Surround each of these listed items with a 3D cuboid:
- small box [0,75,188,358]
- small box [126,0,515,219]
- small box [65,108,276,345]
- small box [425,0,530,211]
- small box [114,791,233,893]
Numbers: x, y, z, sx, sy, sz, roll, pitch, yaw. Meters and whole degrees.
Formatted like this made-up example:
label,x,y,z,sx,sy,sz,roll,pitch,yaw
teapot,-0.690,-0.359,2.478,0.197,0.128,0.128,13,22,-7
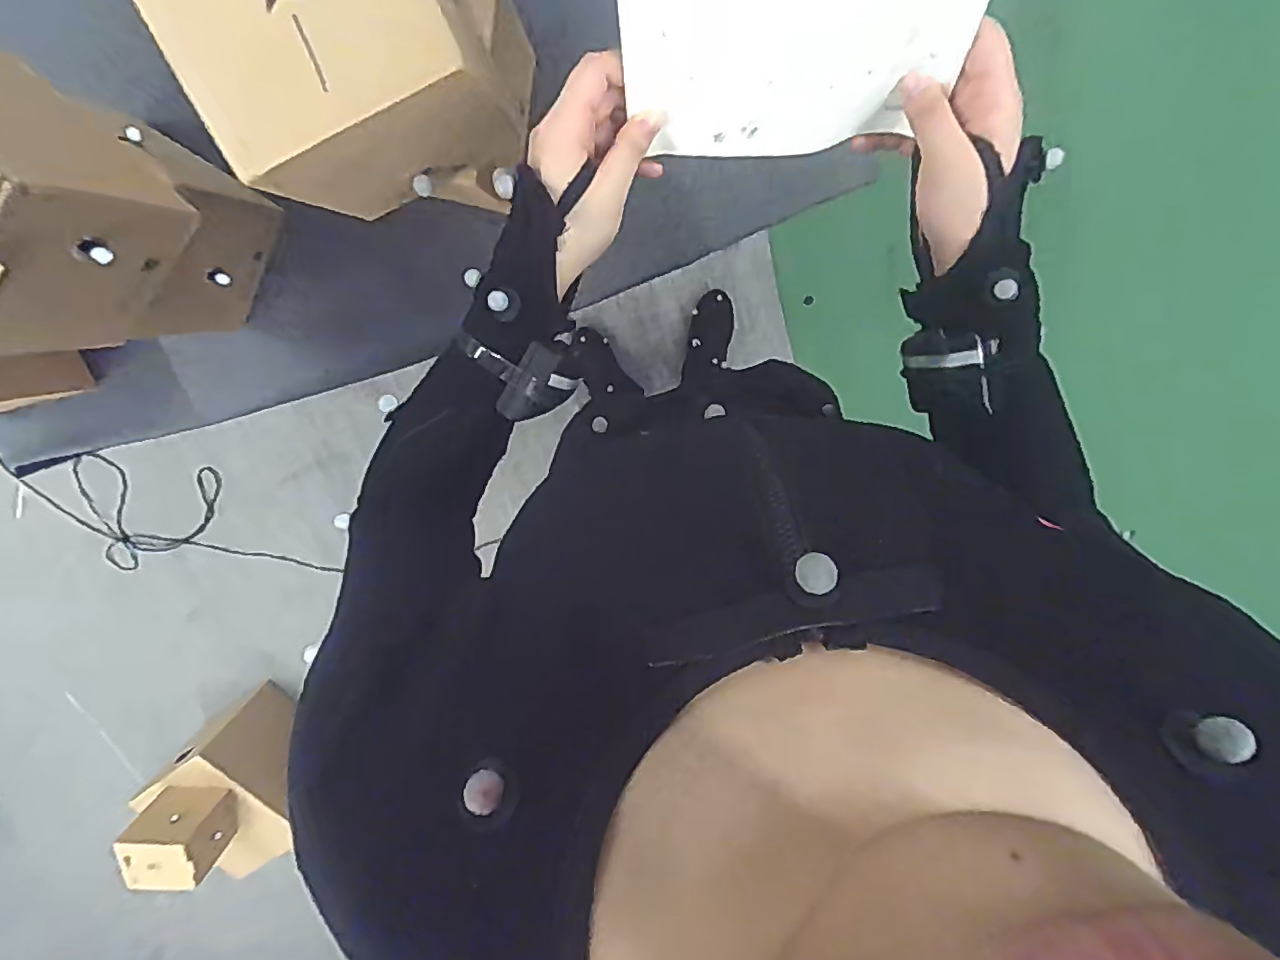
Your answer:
label,x,y,z,sx,sy,sz,roll,pitch,yaw
small box,-0.521,-0.212,0.421,0.179,0.176,0.168,42,103,-12
small box,-0.212,-0.312,0.383,0.168,0.176,0.179,-21,108,8
small box,-0.539,-0.267,0.574,0.179,0.176,0.168,30,106,-10
small box,-0.216,-0.378,0.534,0.179,0.176,0.168,11,108,-2
small box,-1.237,0.968,1.456,0.179,0.176,0.168,3,109,-3
